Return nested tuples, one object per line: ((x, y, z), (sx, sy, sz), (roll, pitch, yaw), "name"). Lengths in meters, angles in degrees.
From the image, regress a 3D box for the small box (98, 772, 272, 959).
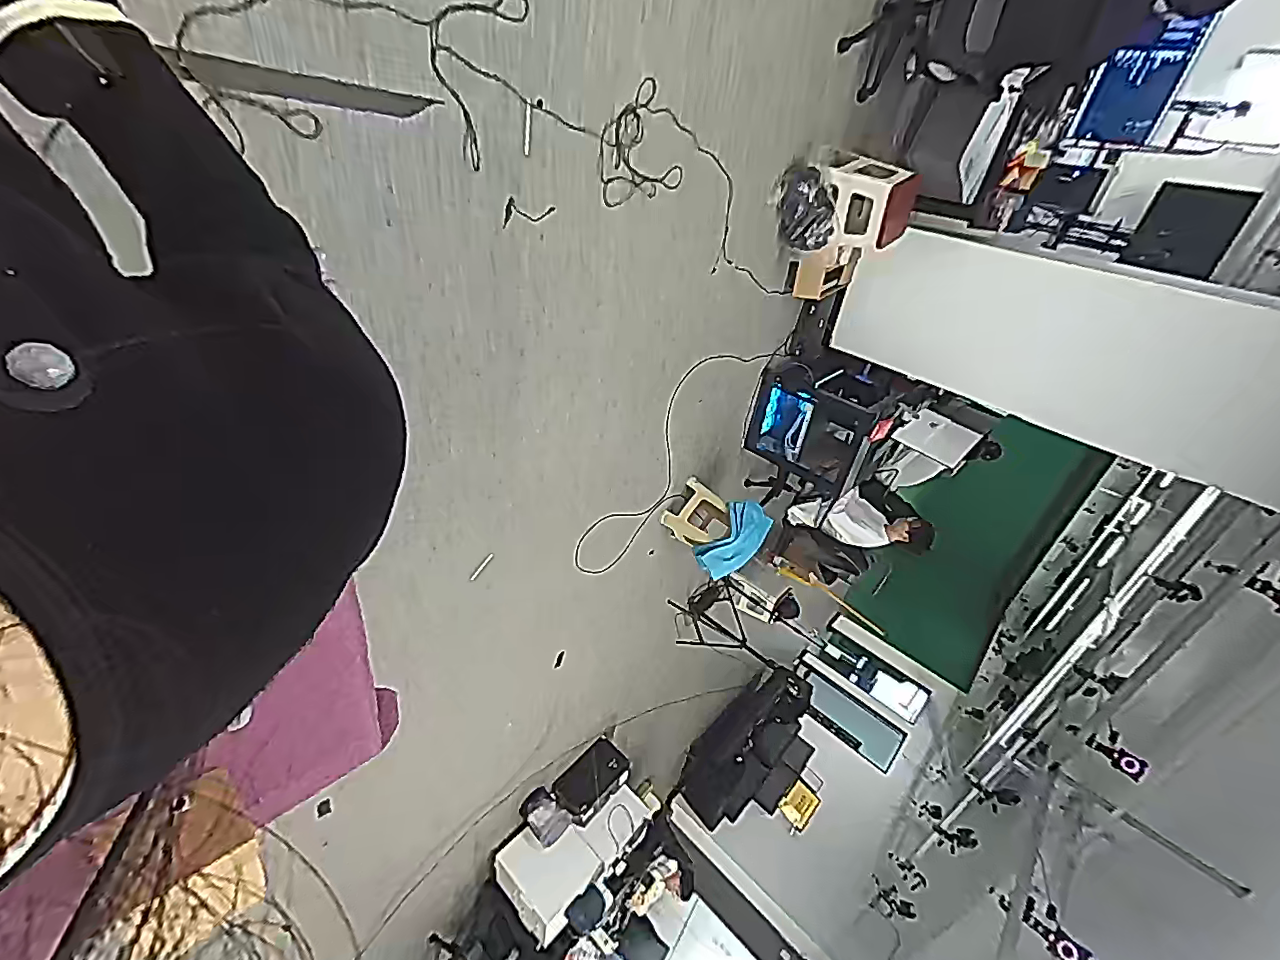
((-0.715, 0.615, 0.859), (0.168, 0.176, 0.179), (-20, 130, -47), "small box")
